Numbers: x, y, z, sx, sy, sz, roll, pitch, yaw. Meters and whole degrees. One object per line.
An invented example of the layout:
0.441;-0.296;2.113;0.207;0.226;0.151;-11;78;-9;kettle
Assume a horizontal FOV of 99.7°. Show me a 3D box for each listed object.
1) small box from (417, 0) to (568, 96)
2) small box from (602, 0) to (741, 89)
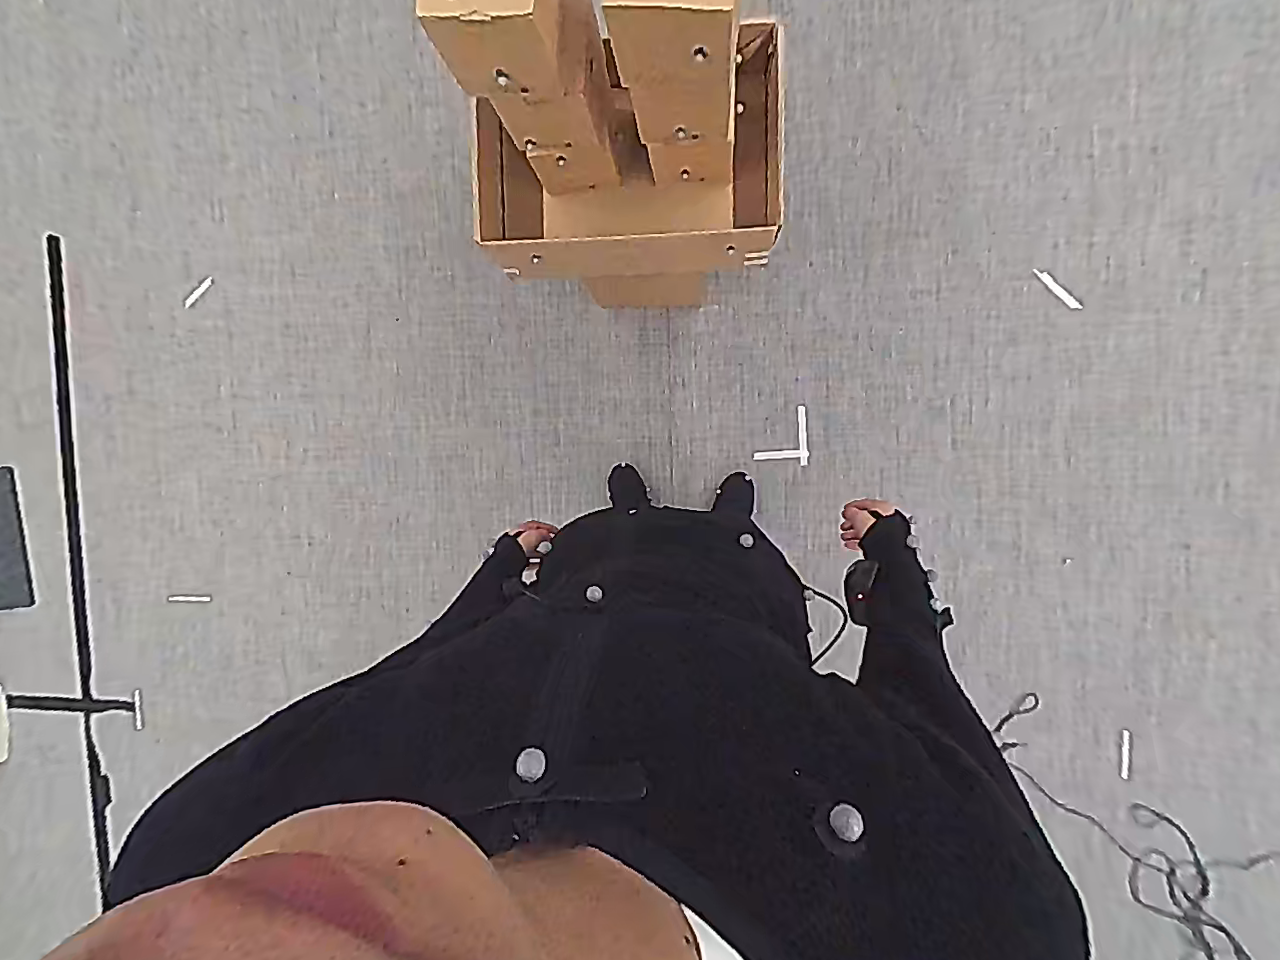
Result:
-0.206;-0.710;0.794;0.168;0.176;0.179;4;94;5;small box
0.055;-0.696;0.770;0.179;0.176;0.168;9;95;6;small box
